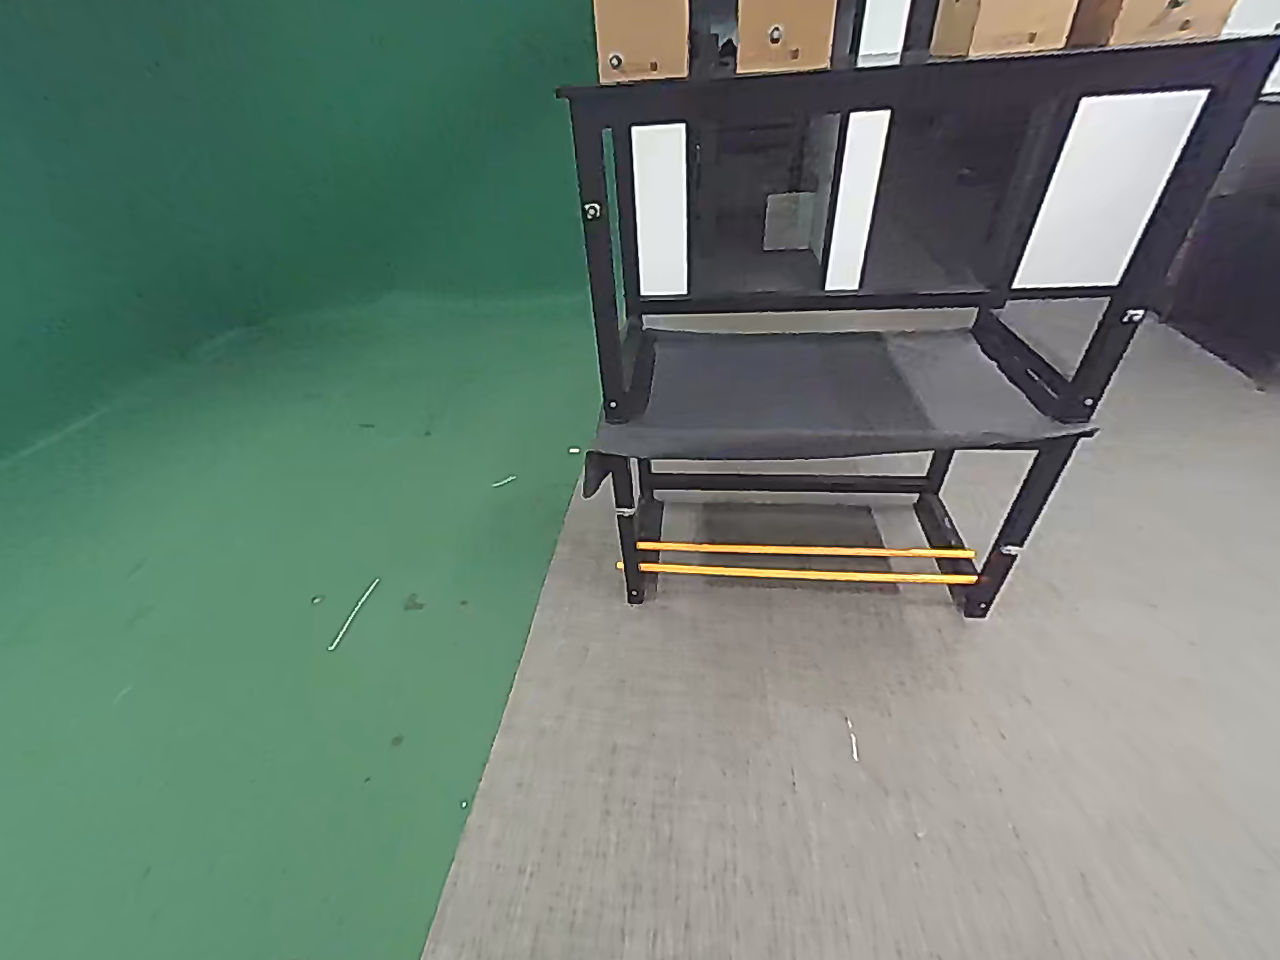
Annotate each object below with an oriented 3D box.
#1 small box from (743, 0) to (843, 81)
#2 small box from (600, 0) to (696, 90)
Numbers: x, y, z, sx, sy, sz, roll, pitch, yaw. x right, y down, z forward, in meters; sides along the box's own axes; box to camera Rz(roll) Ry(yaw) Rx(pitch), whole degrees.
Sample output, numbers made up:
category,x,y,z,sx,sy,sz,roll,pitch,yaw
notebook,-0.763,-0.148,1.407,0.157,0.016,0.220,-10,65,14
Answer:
category,x,y,z,sx,sy,sz,roll,pitch,yaw
small box,0.284,-0.850,1.004,0.168,0.176,0.179,6,39,13
small box,0.021,-0.857,1.034,0.168,0.176,0.179,1,37,6
